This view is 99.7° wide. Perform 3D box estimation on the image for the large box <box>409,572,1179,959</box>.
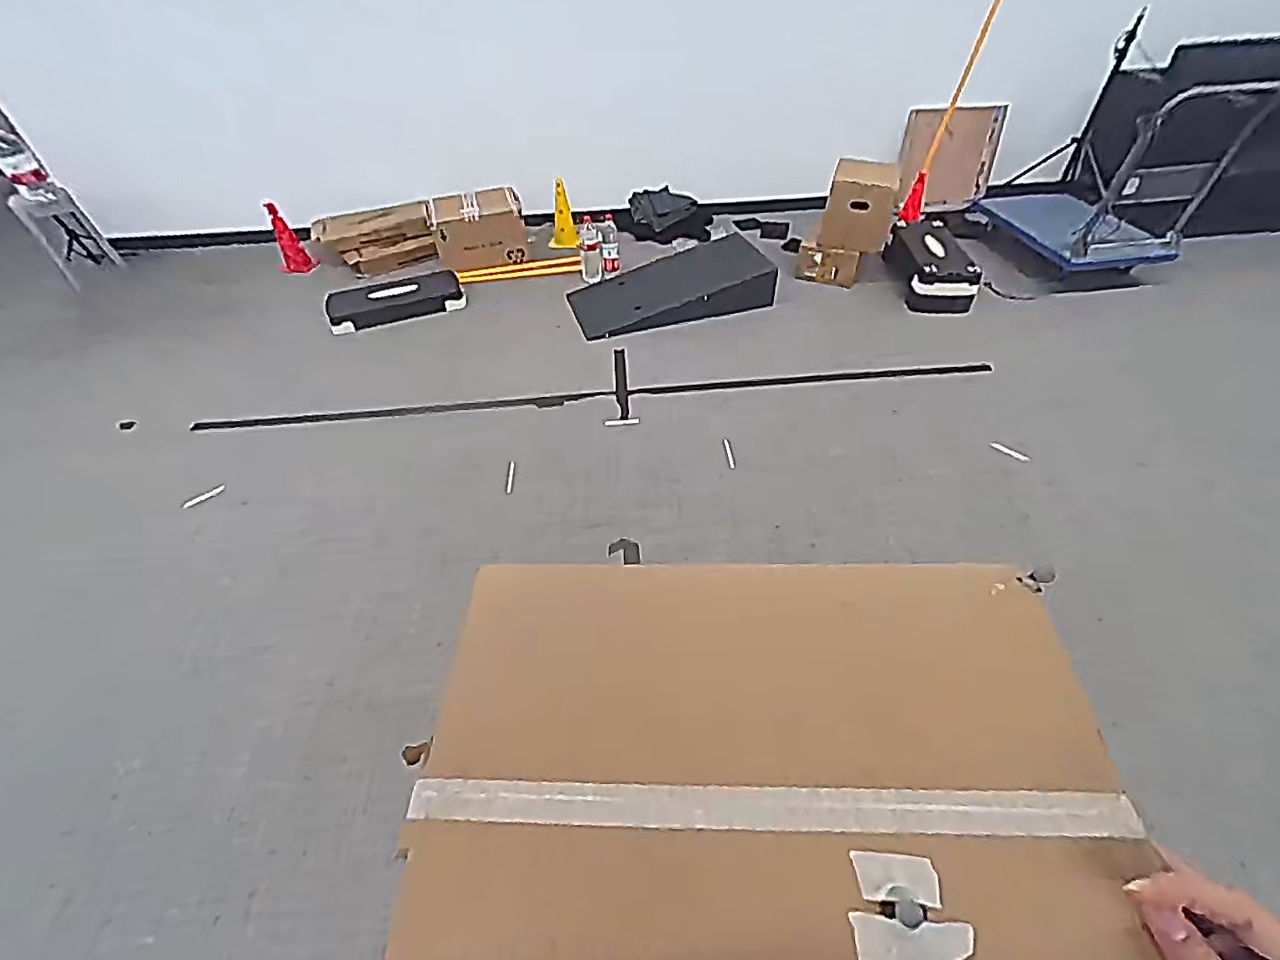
[{"bbox_3d":[0.081,0.285,0.440,0.408,0.320,0.320,-1,54,3],"label":"large box"}]
